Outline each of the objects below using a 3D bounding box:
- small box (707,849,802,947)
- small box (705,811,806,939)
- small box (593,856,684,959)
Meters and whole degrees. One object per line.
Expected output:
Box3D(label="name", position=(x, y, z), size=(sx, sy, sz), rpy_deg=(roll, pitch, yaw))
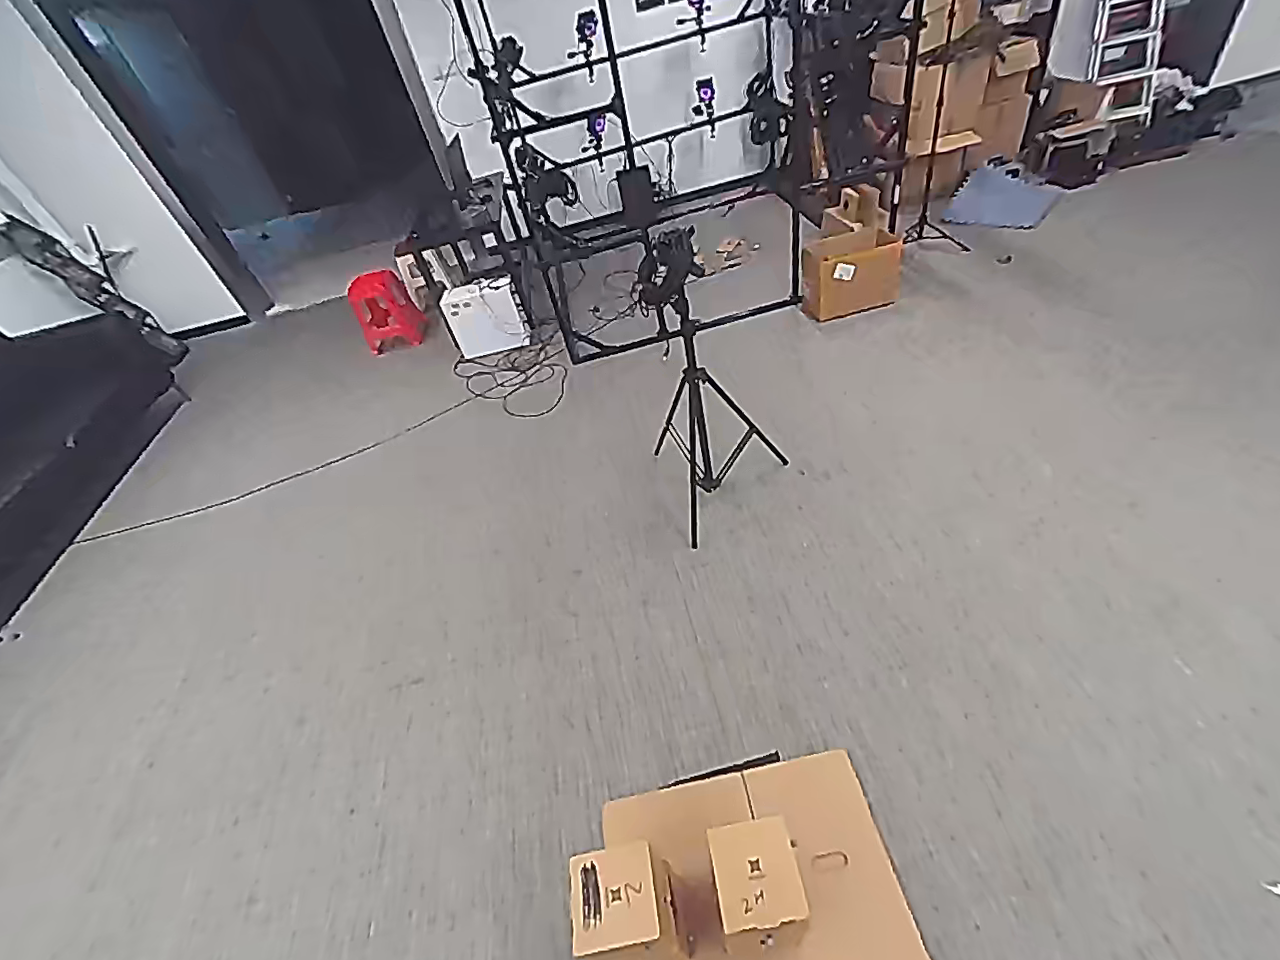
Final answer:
Box3D(label="small box", position=(0.260, 0.948, 1.243), size=(0.179, 0.176, 0.168), rpy_deg=(-13, 43, 3))
Box3D(label="small box", position=(0.238, 0.827, 1.132), size=(0.168, 0.176, 0.179), rpy_deg=(-12, 43, 3))
Box3D(label="small box", position=(0.000, 1.004, 1.255), size=(0.179, 0.176, 0.168), rpy_deg=(-15, 42, 2))
